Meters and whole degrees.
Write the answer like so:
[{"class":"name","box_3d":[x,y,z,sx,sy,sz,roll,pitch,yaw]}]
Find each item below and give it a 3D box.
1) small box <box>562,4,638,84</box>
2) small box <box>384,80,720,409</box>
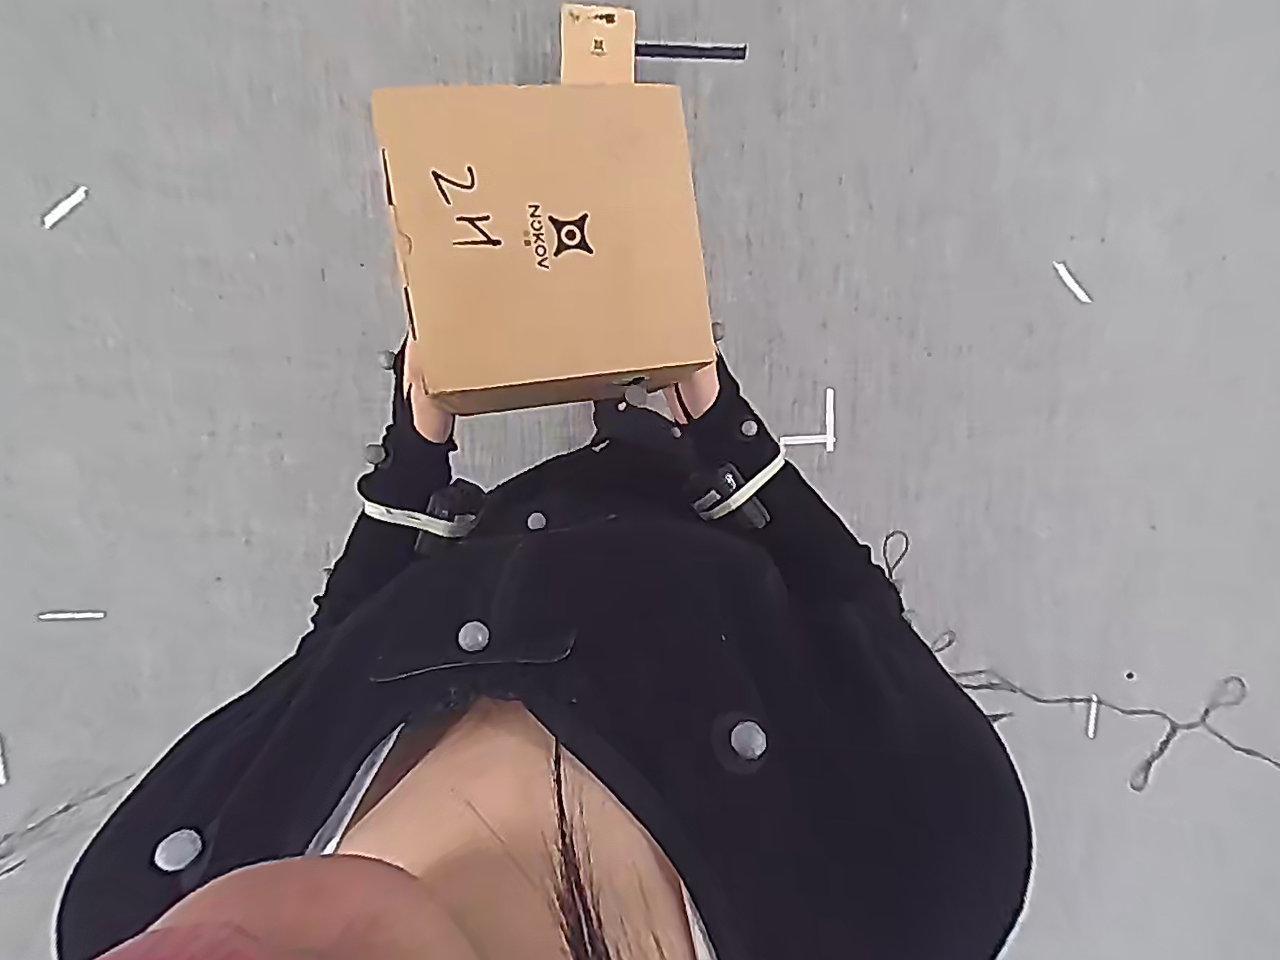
[{"class":"small box","box_3d":[-0.096,-0.969,1.283,0.168,0.176,0.179,1,98,-5]},{"class":"small box","box_3d":[-0.061,-0.147,0.389,0.179,0.176,0.168,-9,94,-11]}]
